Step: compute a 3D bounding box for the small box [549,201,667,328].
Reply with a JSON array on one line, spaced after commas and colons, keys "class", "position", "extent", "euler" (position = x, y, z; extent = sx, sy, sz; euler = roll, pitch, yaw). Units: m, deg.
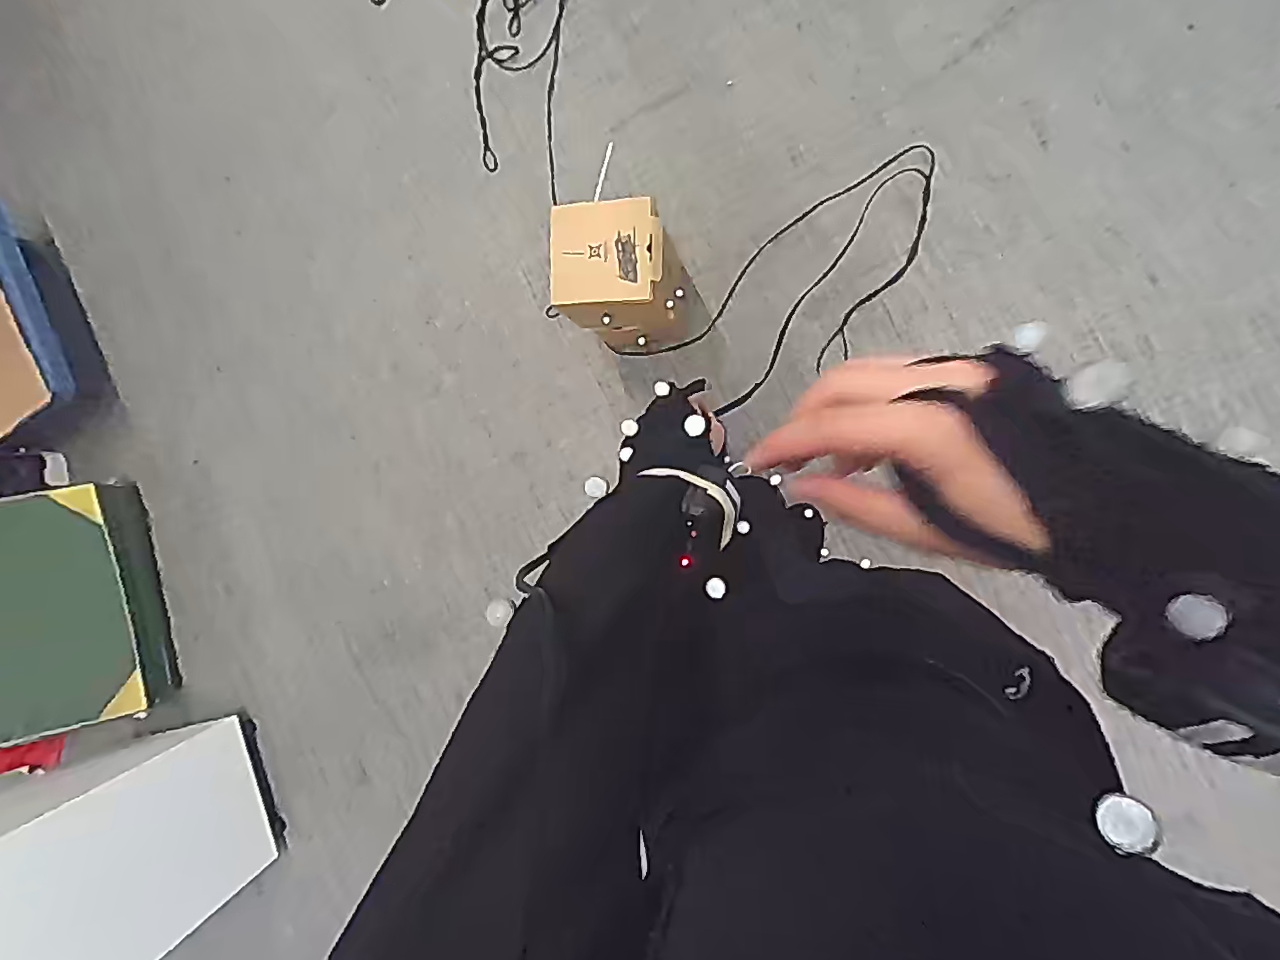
[{"class": "small box", "position": [-0.049, -0.373, 0.965], "extent": [0.179, 0.176, 0.168], "euler": [1, 92, 13]}]

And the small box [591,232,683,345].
[{"class": "small box", "position": [-0.006, -0.384, 1.124], "extent": [0.168, 0.176, 0.179], "euler": [-4, 92, 12]}]
